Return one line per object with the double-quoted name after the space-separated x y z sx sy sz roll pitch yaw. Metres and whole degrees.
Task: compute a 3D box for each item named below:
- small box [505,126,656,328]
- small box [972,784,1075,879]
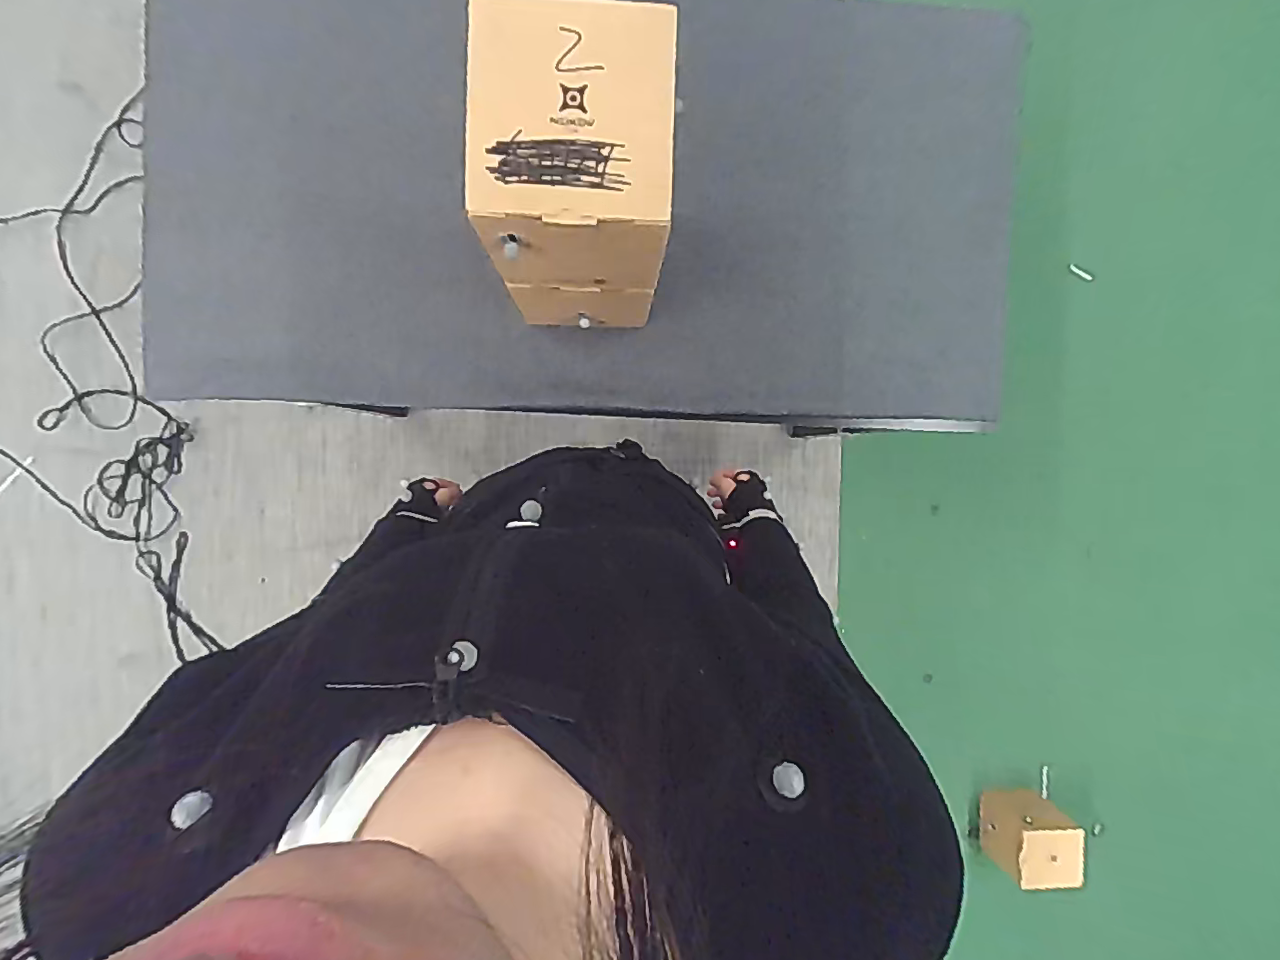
-0.071 -0.302 0.679 0.168 0.176 0.179 1 92 -3 "small box"
1.100 1.004 1.558 0.179 0.176 0.168 -1 93 -3 "small box"
